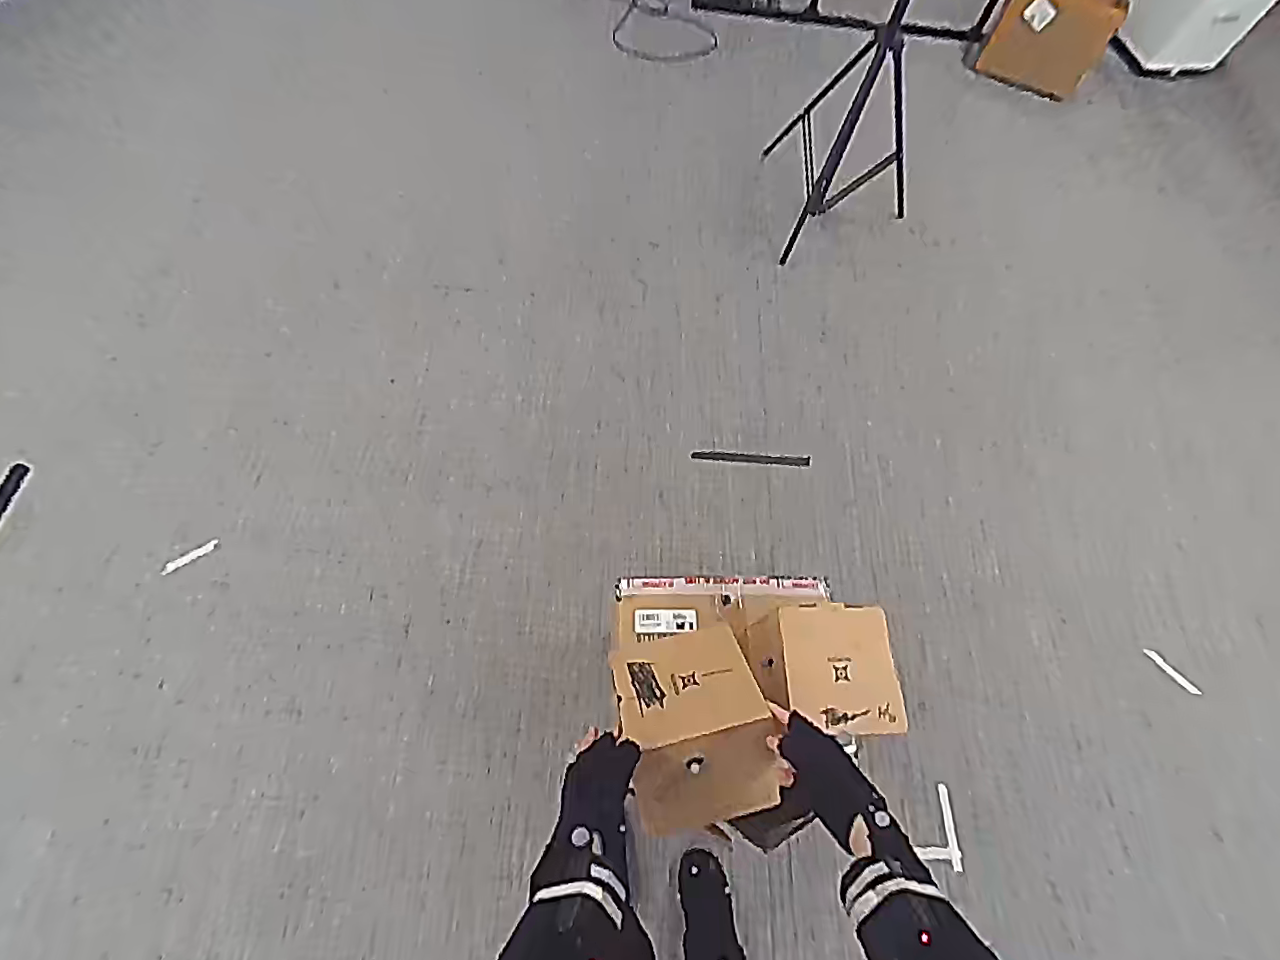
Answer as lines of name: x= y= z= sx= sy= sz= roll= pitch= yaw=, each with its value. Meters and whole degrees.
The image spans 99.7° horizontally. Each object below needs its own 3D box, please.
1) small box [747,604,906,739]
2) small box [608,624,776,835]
small box: x=0.270 y=0.299 z=0.831 sx=0.168 sy=0.176 sz=0.179 roll=2 pitch=63 yaw=-6
small box: x=0.066 y=0.325 z=0.711 sx=0.179 sy=0.176 sz=0.168 roll=-13 pitch=26 yaw=-5
